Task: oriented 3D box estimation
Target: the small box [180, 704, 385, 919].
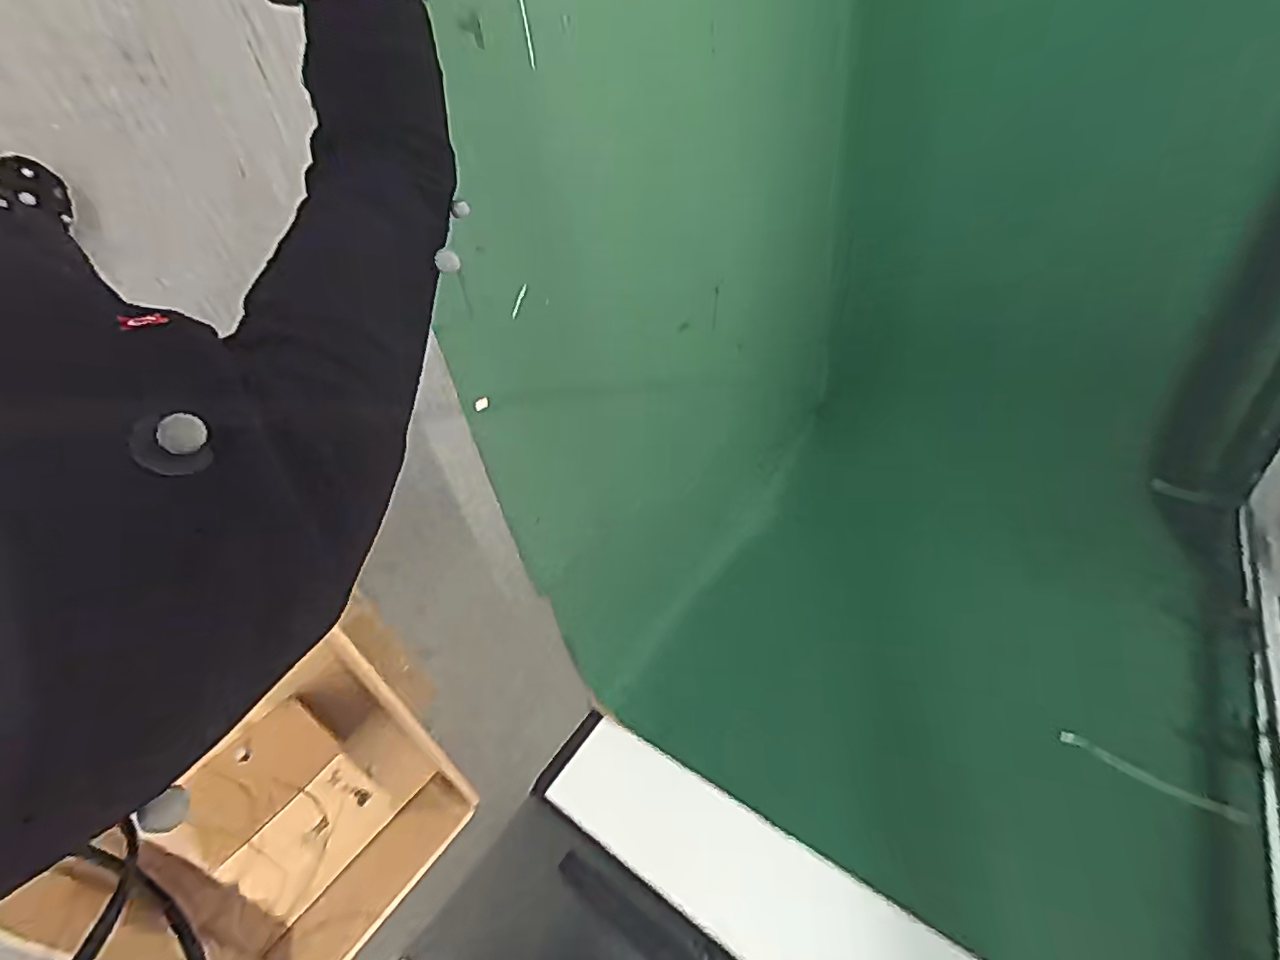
[{"bbox_3d":[-0.522,0.473,0.790,0.179,0.176,0.168,-43,138,-34],"label":"small box"}]
